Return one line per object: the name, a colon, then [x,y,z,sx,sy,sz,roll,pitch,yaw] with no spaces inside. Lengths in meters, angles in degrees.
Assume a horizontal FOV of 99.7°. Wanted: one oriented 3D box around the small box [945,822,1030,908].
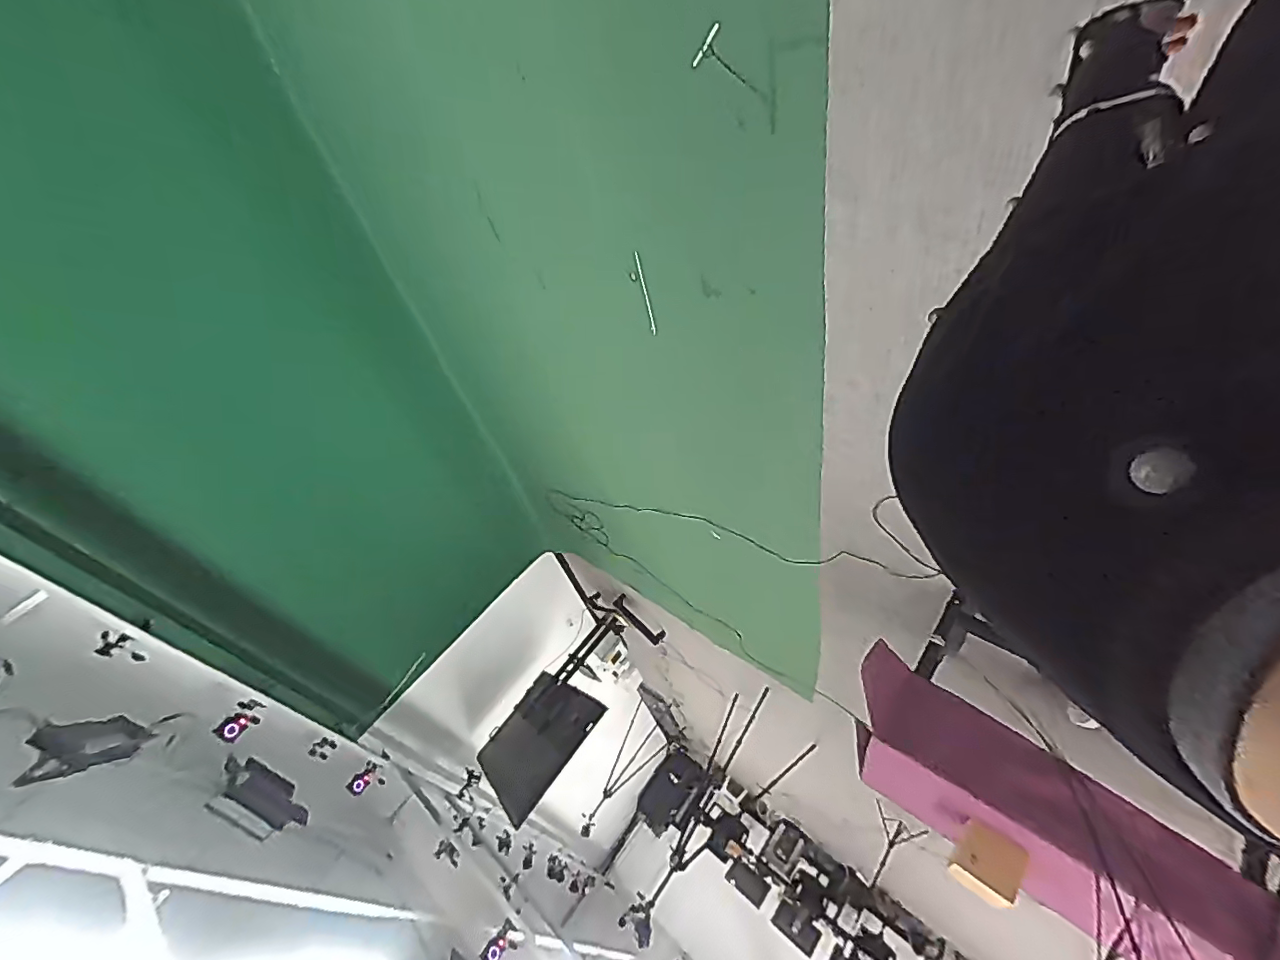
small box: [1.167,1.289,1.822,0.179,0.176,0.168,26,151,33]
